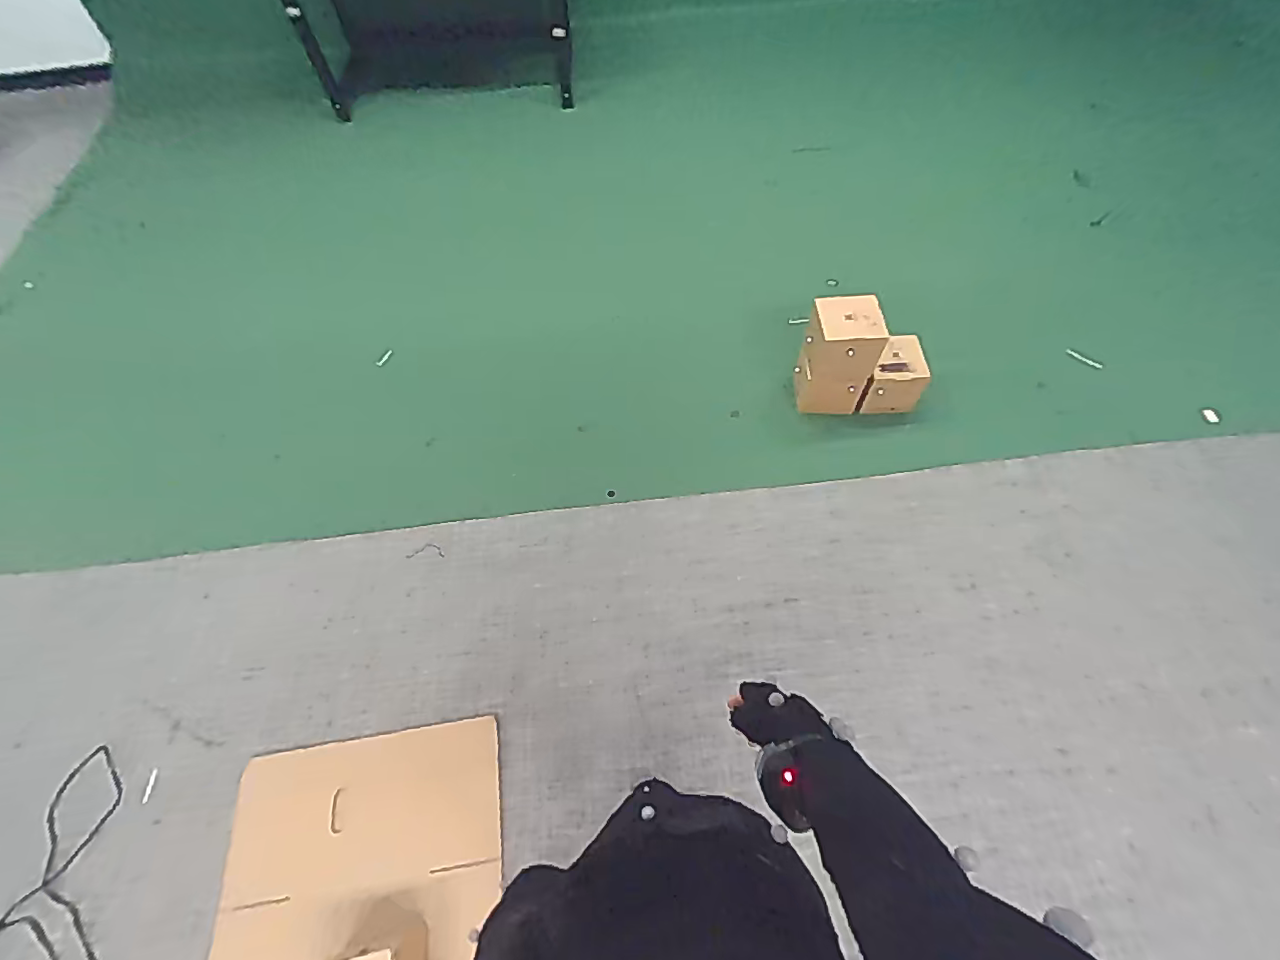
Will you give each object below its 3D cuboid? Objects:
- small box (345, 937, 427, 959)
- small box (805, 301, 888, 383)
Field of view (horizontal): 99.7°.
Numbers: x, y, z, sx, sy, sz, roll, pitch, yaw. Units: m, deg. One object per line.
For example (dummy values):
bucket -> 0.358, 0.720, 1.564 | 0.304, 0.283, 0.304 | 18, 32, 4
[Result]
small box -> -0.504, 0.984, 0.999 | 0.179, 0.176, 0.168 | -14, 61, -4
small box -> 0.586, -0.394, 1.564 | 0.179, 0.176, 0.168 | -2, 60, 1
